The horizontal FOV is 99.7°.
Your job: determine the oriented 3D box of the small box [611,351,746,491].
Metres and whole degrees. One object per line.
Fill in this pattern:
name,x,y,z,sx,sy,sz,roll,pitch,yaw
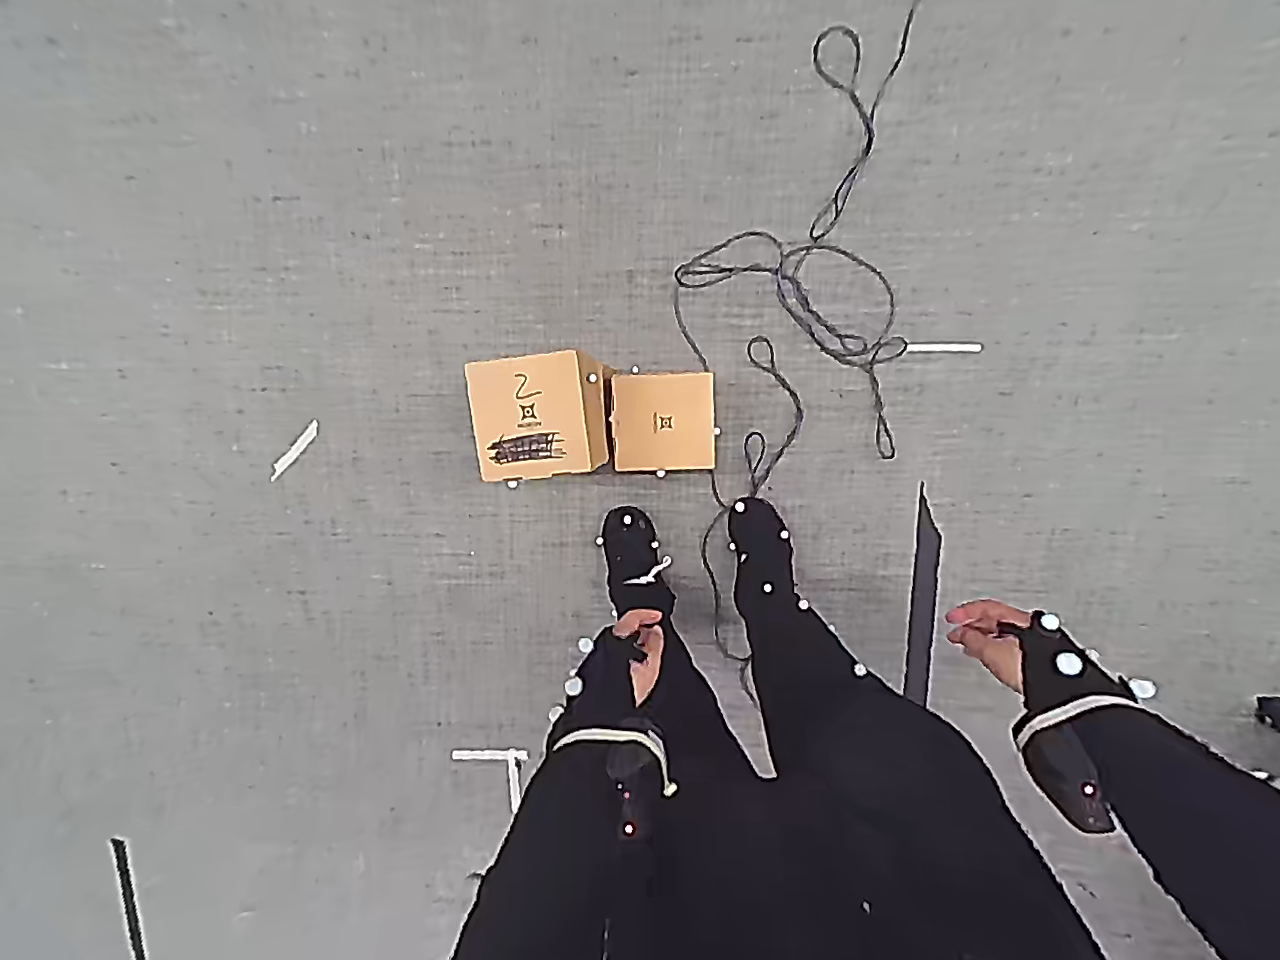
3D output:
small box,0.057,-0.099,0.930,0.168,0.176,0.179,22,110,-14
